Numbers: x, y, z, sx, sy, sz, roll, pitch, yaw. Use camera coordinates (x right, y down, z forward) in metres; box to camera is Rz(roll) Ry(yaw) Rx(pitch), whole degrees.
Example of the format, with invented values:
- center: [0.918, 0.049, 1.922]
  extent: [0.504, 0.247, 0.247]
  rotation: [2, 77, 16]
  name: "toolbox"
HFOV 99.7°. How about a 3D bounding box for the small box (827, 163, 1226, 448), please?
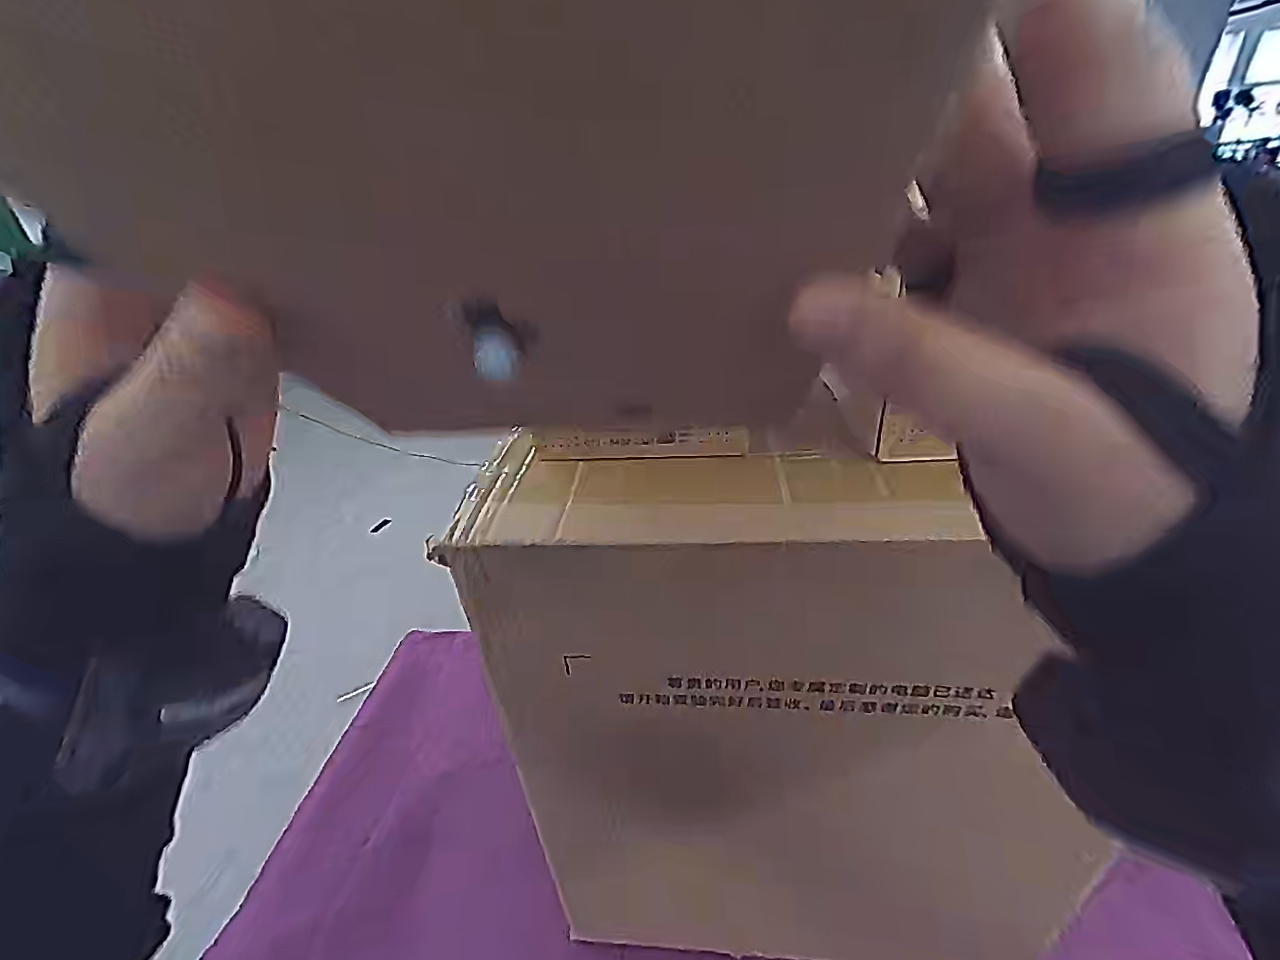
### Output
- center: [0.249, -0.137, 0.412]
  extent: [0.168, 0.176, 0.179]
  rotation: [-3, 31, 6]
  name: "small box"
